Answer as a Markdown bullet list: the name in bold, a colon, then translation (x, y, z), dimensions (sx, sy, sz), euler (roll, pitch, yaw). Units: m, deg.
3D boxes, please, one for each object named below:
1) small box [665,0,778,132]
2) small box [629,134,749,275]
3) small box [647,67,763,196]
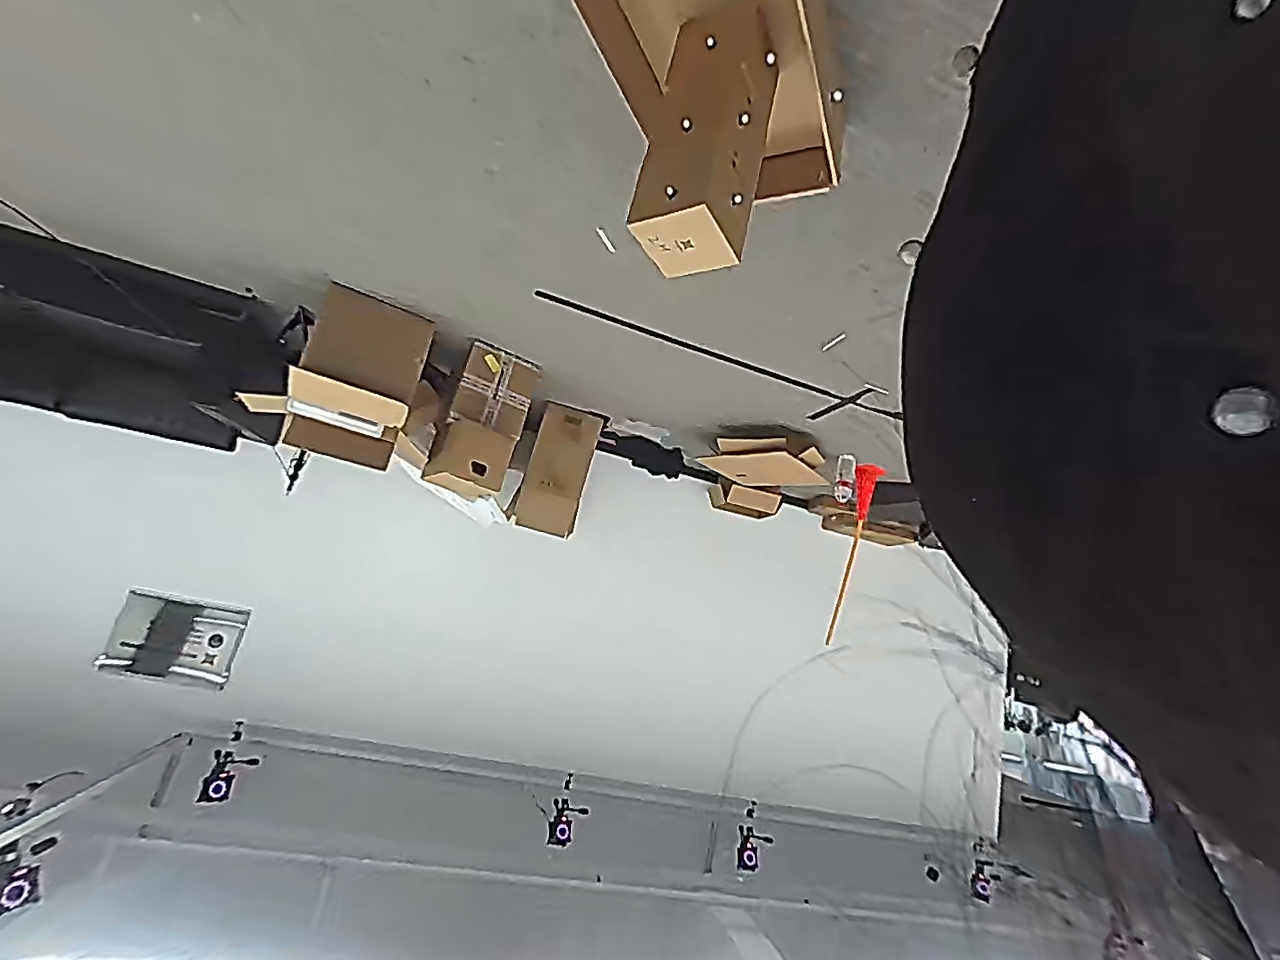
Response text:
- **small box**: translation (0.177, -0.850, 1.141), dimensions (0.179, 0.176, 0.168), euler (5, 165, 30)
- **small box**: translation (0.105, -0.539, 1.068), dimensions (0.179, 0.176, 0.168), euler (3, 162, 35)
- **small box**: translation (0.142, -0.695, 1.112), dimensions (0.179, 0.176, 0.168), euler (5, 164, 35)
